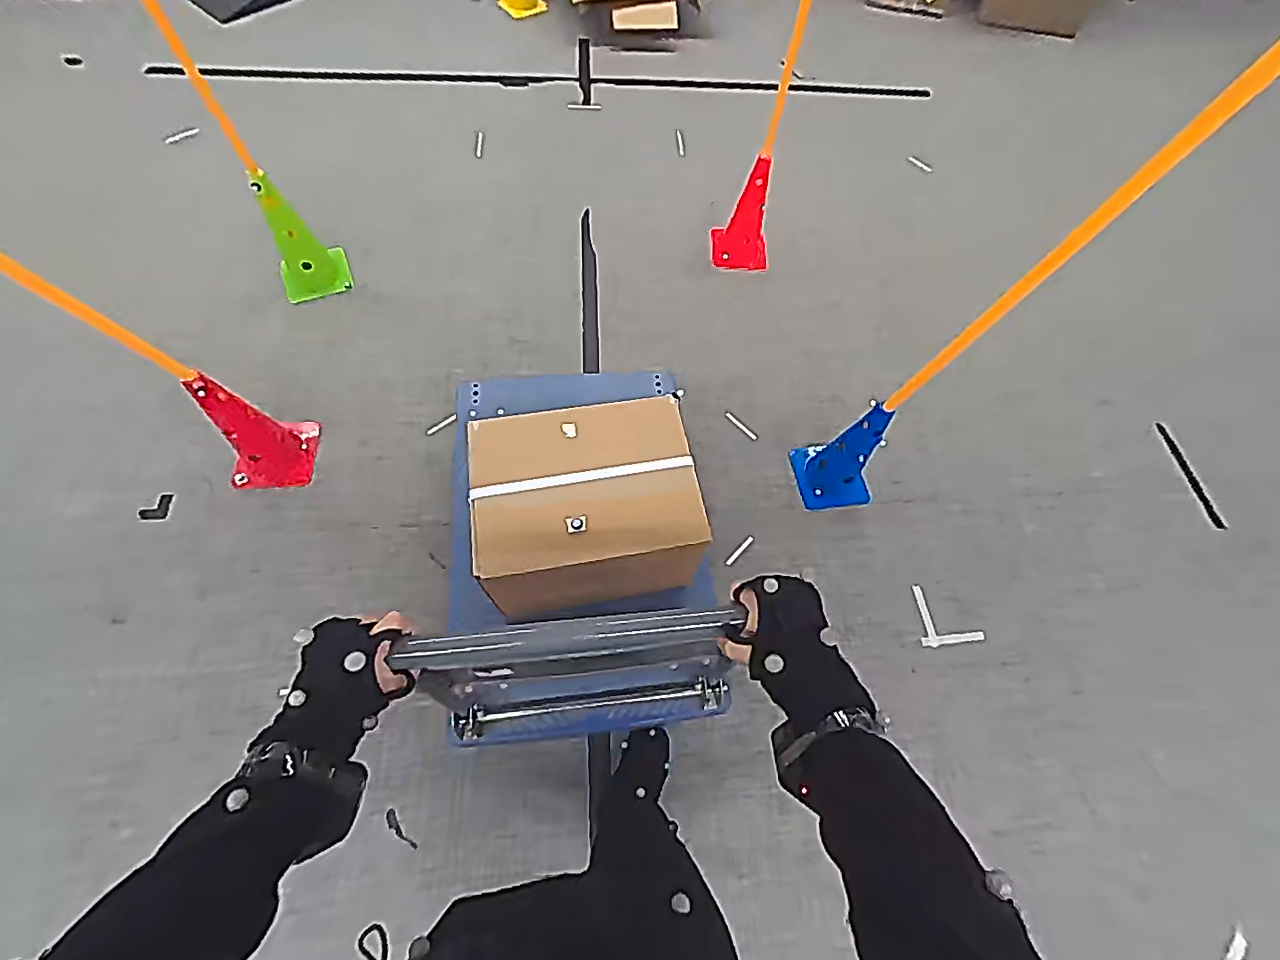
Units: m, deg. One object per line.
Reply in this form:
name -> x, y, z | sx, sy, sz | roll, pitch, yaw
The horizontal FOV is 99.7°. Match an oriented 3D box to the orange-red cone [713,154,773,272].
orange-red cone -> 0.376, -0.905, 1.800 | 0.199, 0.360, 0.198 | 4, 64, -3

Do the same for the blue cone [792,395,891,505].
blue cone -> 0.566, -0.092, 1.435 | 0.193, 0.380, 0.192 | -6, 64, -7
